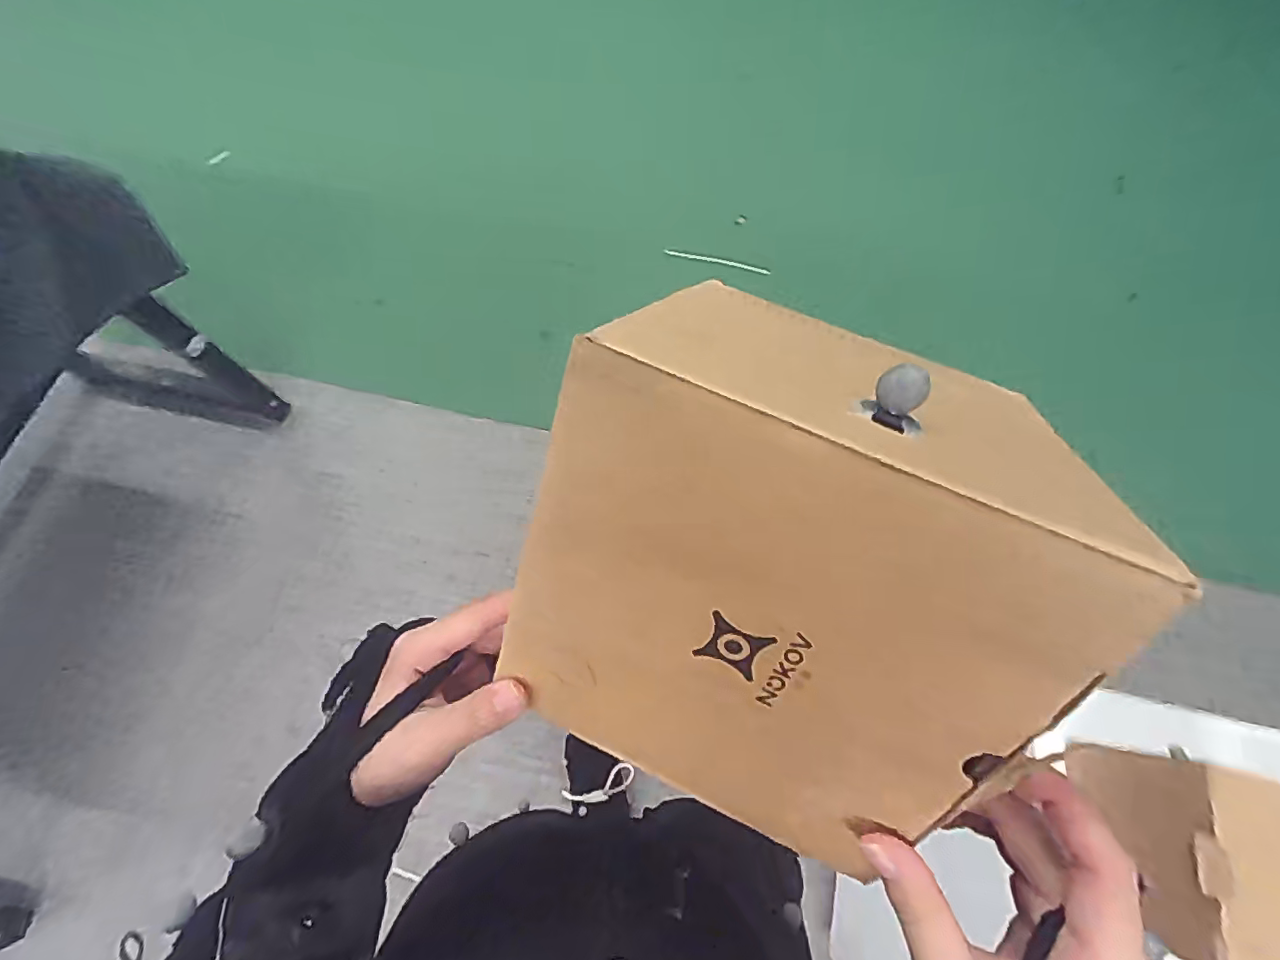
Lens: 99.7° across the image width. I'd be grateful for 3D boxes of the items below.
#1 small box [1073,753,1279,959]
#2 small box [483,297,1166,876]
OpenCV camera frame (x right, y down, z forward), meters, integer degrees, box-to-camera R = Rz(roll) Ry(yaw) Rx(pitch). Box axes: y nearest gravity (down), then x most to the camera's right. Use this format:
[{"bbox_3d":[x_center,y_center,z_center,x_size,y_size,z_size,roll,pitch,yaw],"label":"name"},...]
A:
[{"bbox_3d":[0.559,0.376,0.517,0.179,0.176,0.168,15,71,3],"label":"small box"},{"bbox_3d":[0.057,0.023,0.255,0.179,0.168,0.176,23,29,8],"label":"small box"}]
